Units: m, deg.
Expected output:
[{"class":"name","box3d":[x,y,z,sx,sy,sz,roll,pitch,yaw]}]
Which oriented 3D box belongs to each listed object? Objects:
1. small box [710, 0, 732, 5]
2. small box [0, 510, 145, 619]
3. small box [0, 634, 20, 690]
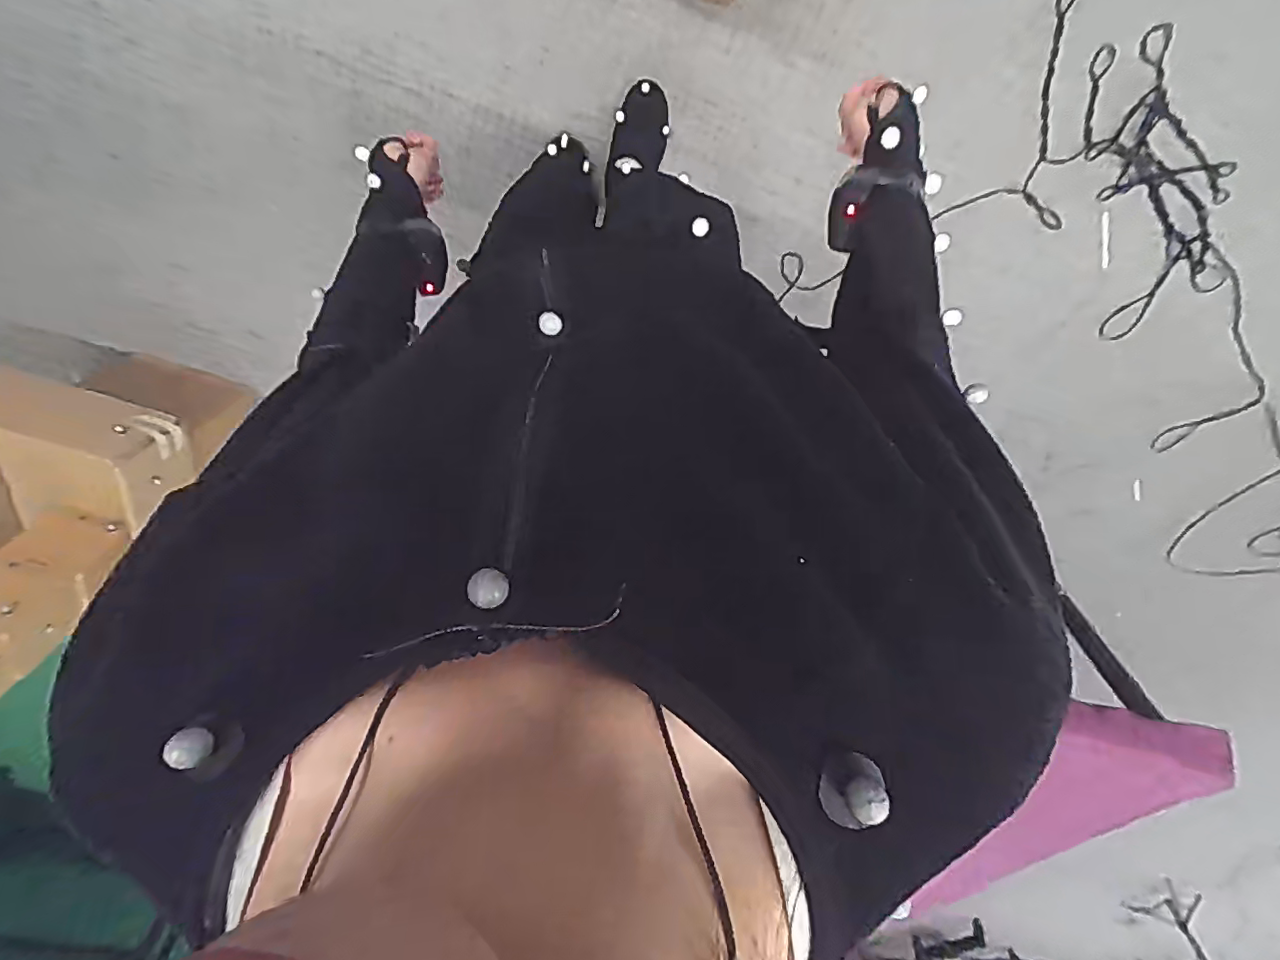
[{"class":"small box","box3d":[0.116,-0.958,0.931,0.179,0.176,0.168,16,125,-10]},{"class":"small box","box3d":[-1.353,0.199,1.304,0.168,0.176,0.179,19,124,-12]},{"class":"small box","box3d":[-1.380,0.380,1.033,0.179,0.176,0.168,16,125,-10]}]
